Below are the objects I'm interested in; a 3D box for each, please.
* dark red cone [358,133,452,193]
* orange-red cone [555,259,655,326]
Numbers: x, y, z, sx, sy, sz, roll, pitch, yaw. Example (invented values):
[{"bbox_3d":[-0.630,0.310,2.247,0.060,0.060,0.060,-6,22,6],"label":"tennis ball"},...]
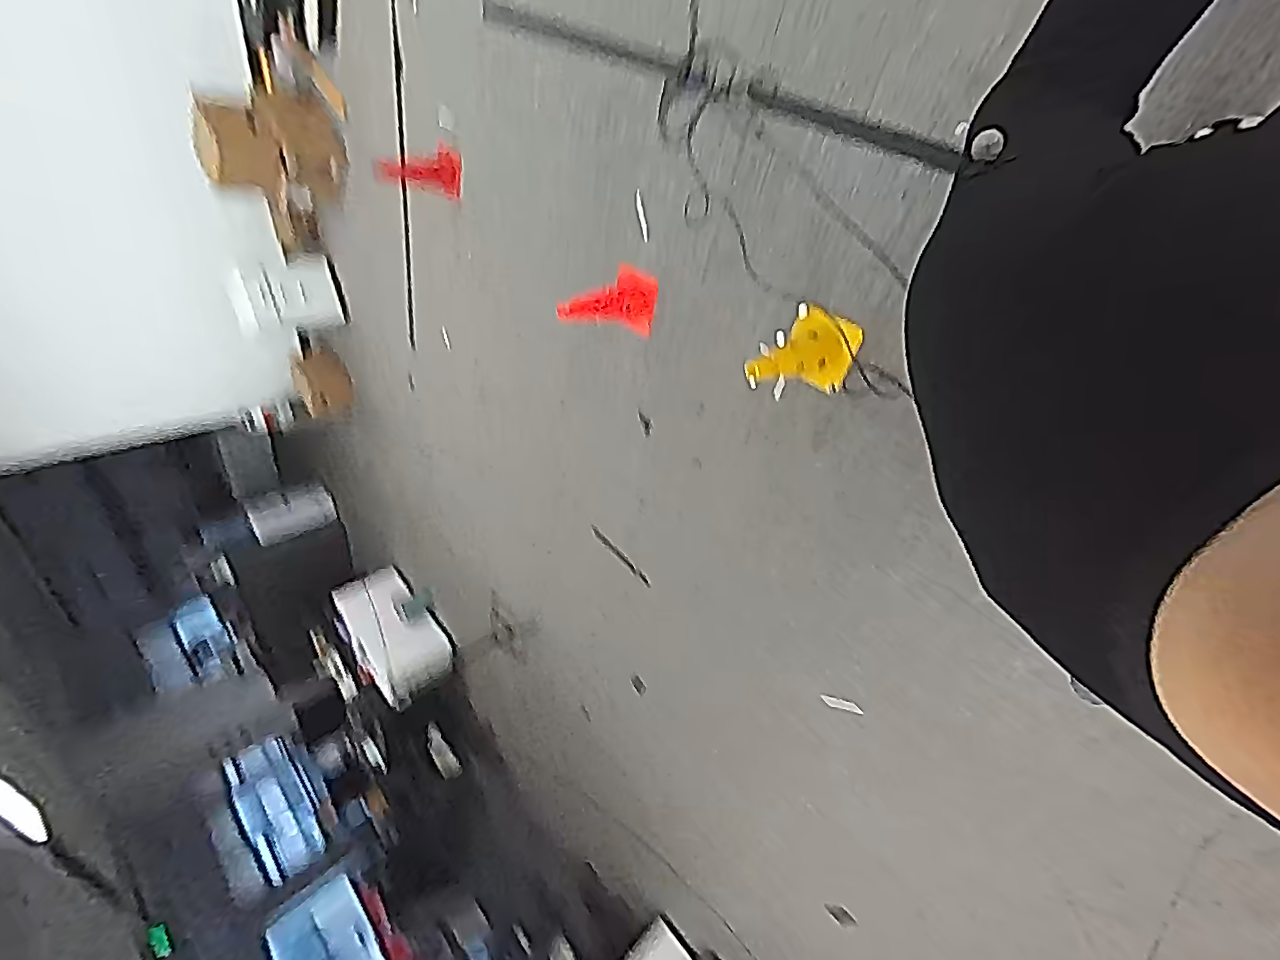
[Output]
[{"bbox_3d":[-1.042,-1.416,2.396,0.202,0.394,0.201,44,134,22],"label":"dark red cone"},{"bbox_3d":[-0.145,-0.630,1.876,0.199,0.360,0.198,36,133,27],"label":"orange-red cone"}]
